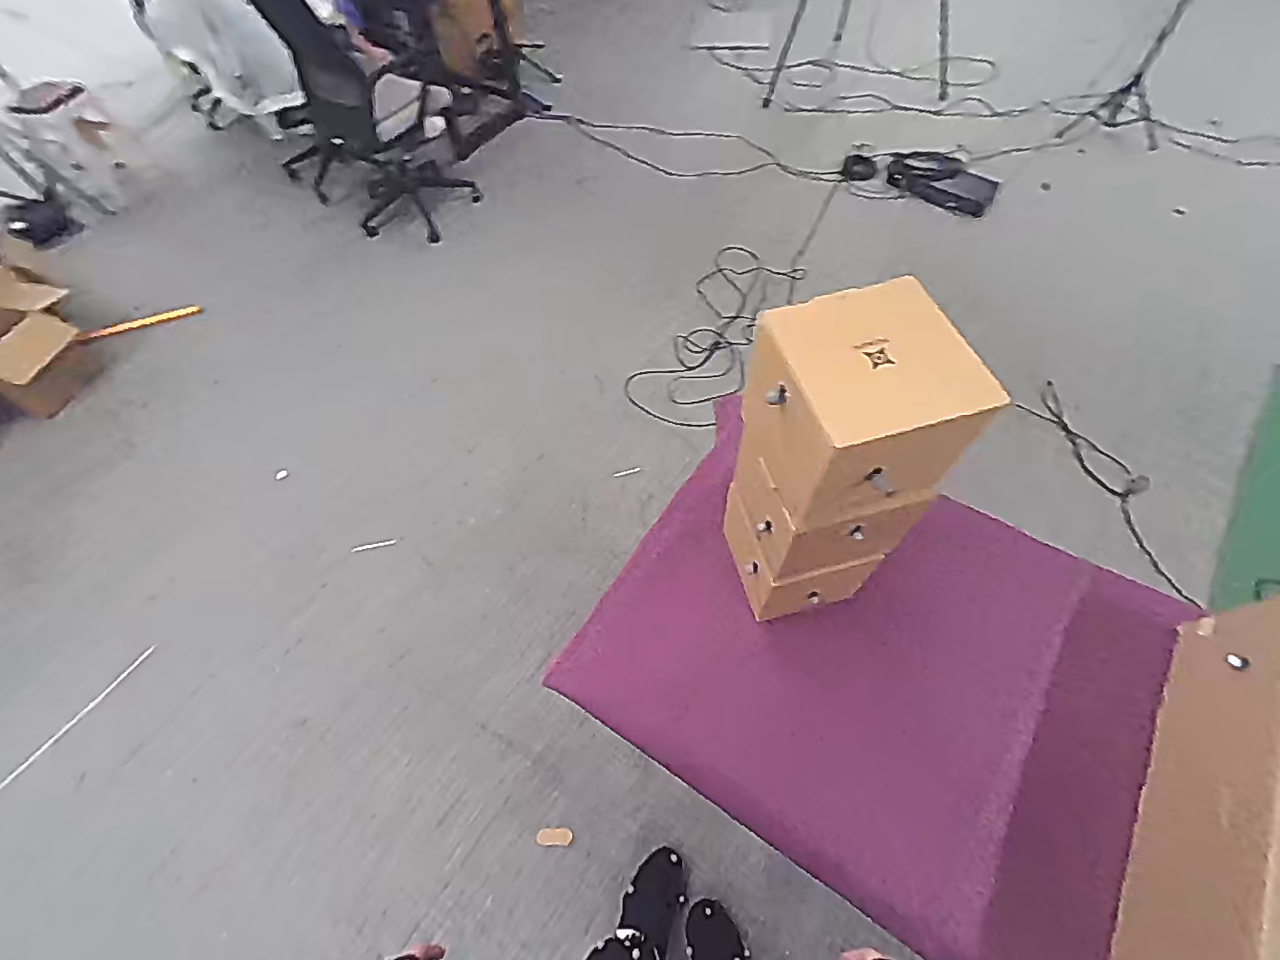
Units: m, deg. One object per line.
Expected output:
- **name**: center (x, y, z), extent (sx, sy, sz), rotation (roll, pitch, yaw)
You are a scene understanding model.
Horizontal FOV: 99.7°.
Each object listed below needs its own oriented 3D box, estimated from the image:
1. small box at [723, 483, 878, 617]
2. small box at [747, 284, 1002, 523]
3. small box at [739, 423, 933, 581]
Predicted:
- **small box**: center (0.237, 0.103, 0.850), extent (0.168, 0.176, 0.179), rotation (-13, 59, -5)
- **small box**: center (0.225, -0.070, 0.576), extent (0.168, 0.176, 0.179), rotation (-15, 59, -5)
- **small box**: center (0.236, 0.018, 0.711), extent (0.179, 0.176, 0.168), rotation (-13, 60, -5)
